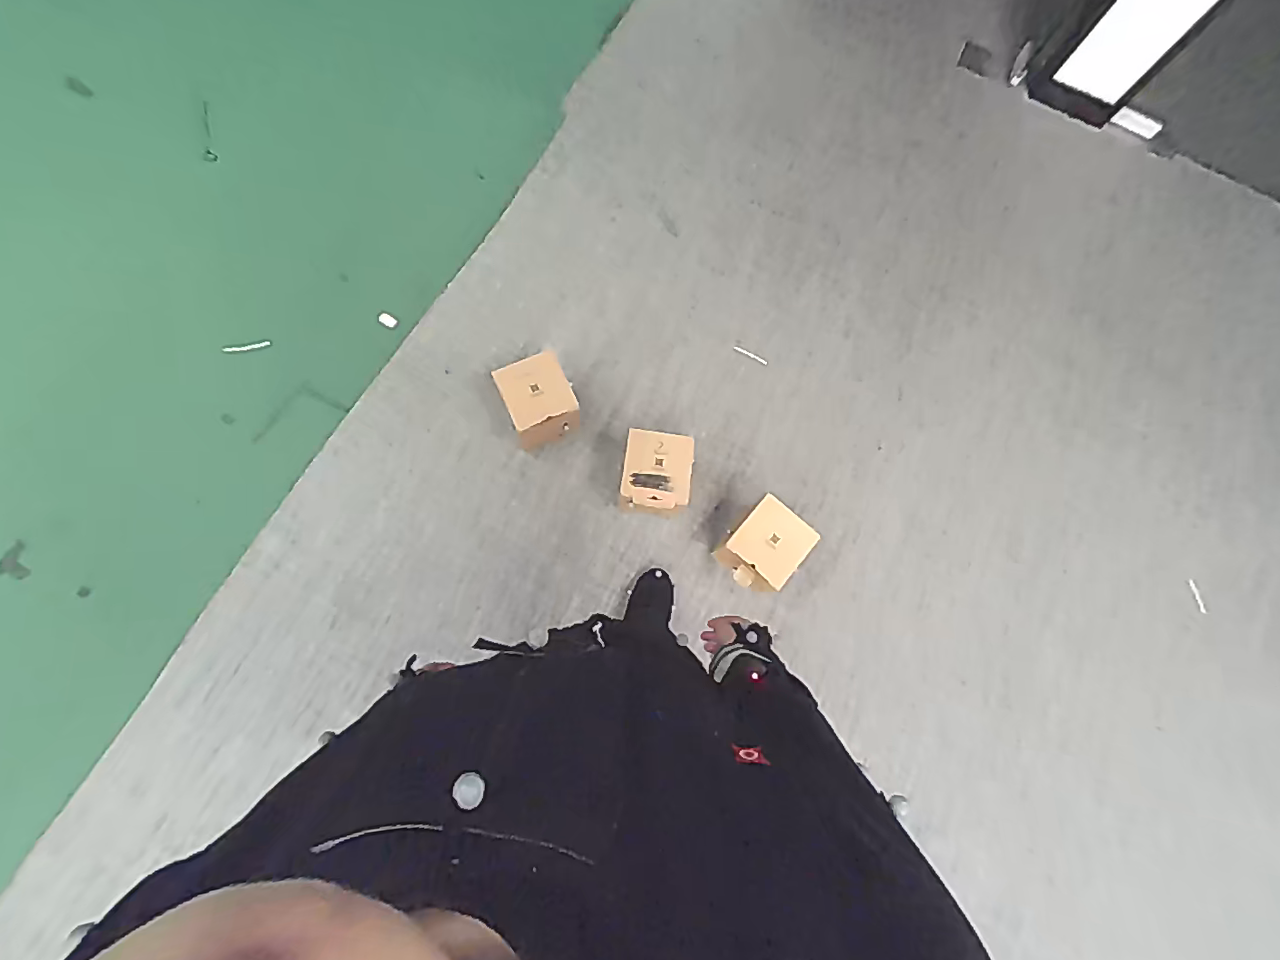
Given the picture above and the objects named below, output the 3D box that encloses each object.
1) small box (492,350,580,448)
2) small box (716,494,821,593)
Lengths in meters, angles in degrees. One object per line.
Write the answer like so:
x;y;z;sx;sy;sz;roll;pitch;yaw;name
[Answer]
-0.262;-0.199;1.403;0.168;0.176;0.179;-25;78;-11;small box
0.312;0.165;1.357;0.168;0.176;0.179;41;77;6;small box
